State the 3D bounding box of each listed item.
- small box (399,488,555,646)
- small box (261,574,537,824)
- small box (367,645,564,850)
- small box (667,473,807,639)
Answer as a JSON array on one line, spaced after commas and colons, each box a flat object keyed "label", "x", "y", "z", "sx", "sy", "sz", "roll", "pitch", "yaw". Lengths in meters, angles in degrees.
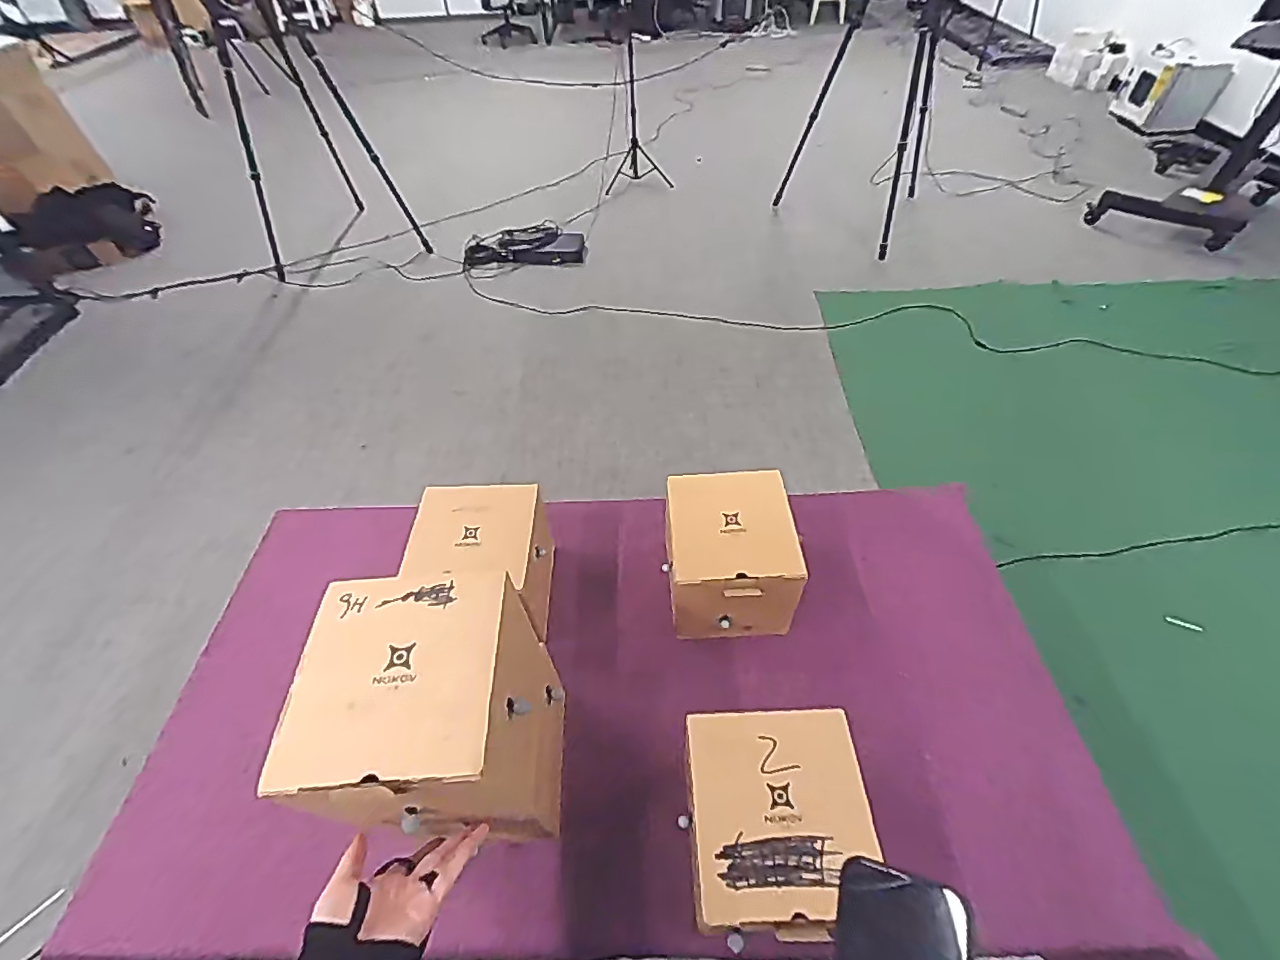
[{"label": "small box", "x": -0.223, "y": 0.132, "z": 0.788, "sx": 0.168, "sy": 0.176, "sz": 0.179, "roll": -1, "pitch": 50, "yaw": 1}, {"label": "small box", "x": -0.195, "y": 0.209, "z": 0.503, "sx": 0.168, "sy": 0.176, "sz": 0.179, "roll": -4, "pitch": 50, "yaw": -1}, {"label": "small box", "x": -0.184, "y": 0.313, "z": 0.630, "sx": 0.168, "sy": 0.176, "sz": 0.179, "roll": -4, "pitch": 49, "yaw": 1}, {"label": "small box", "x": 0.126, "y": 0.111, "z": 0.784, "sx": 0.168, "sy": 0.176, "sz": 0.179, "roll": -4, "pitch": 50, "yaw": 0}]
